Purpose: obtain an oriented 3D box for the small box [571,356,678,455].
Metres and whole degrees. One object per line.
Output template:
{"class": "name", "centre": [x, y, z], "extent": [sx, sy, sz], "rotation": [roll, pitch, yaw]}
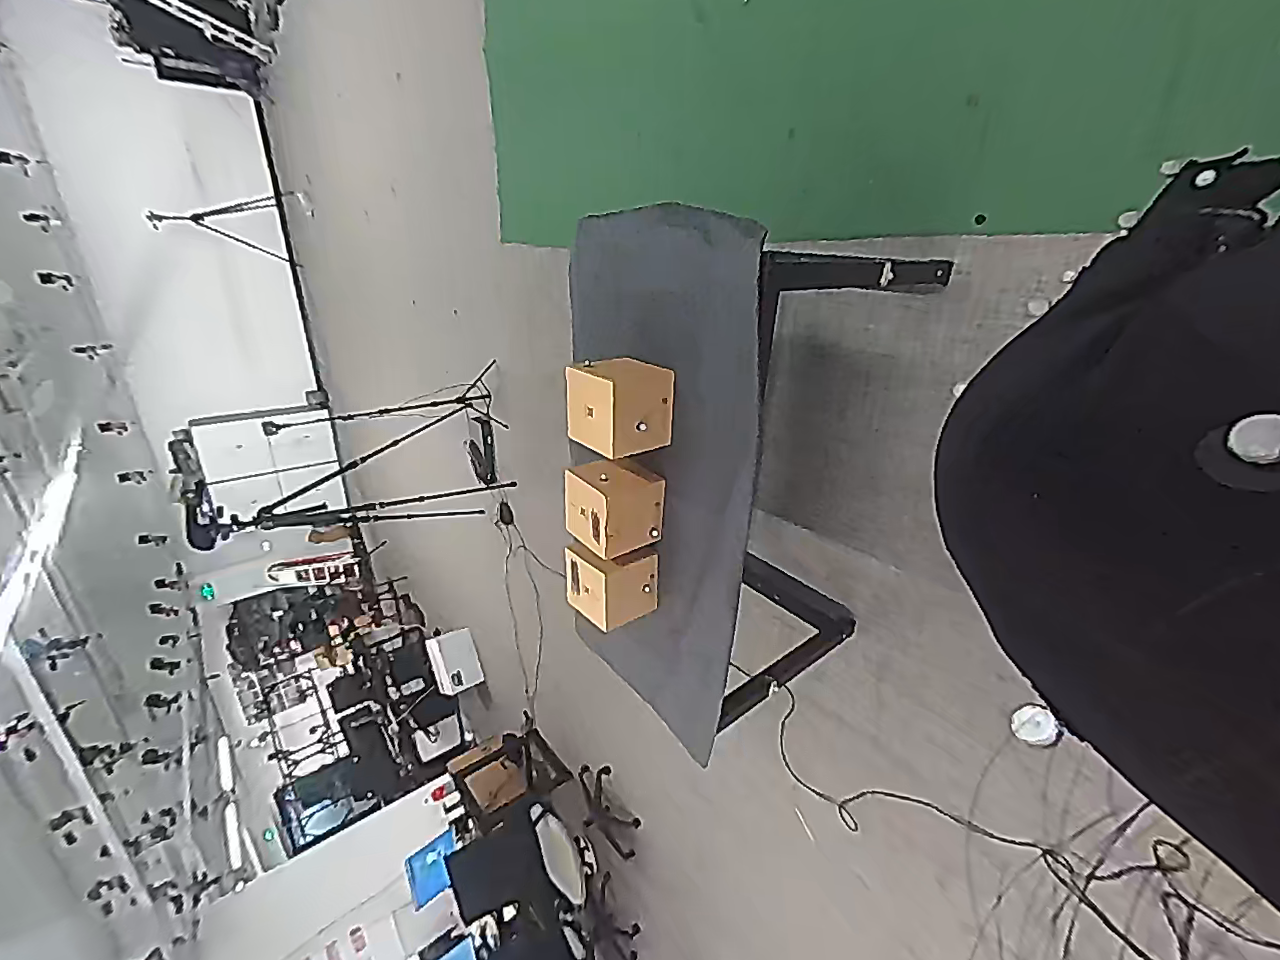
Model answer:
{"class": "small box", "centre": [-0.033, -0.171, 1.186], "extent": [0.179, 0.176, 0.168], "rotation": [28, 125, 46]}
